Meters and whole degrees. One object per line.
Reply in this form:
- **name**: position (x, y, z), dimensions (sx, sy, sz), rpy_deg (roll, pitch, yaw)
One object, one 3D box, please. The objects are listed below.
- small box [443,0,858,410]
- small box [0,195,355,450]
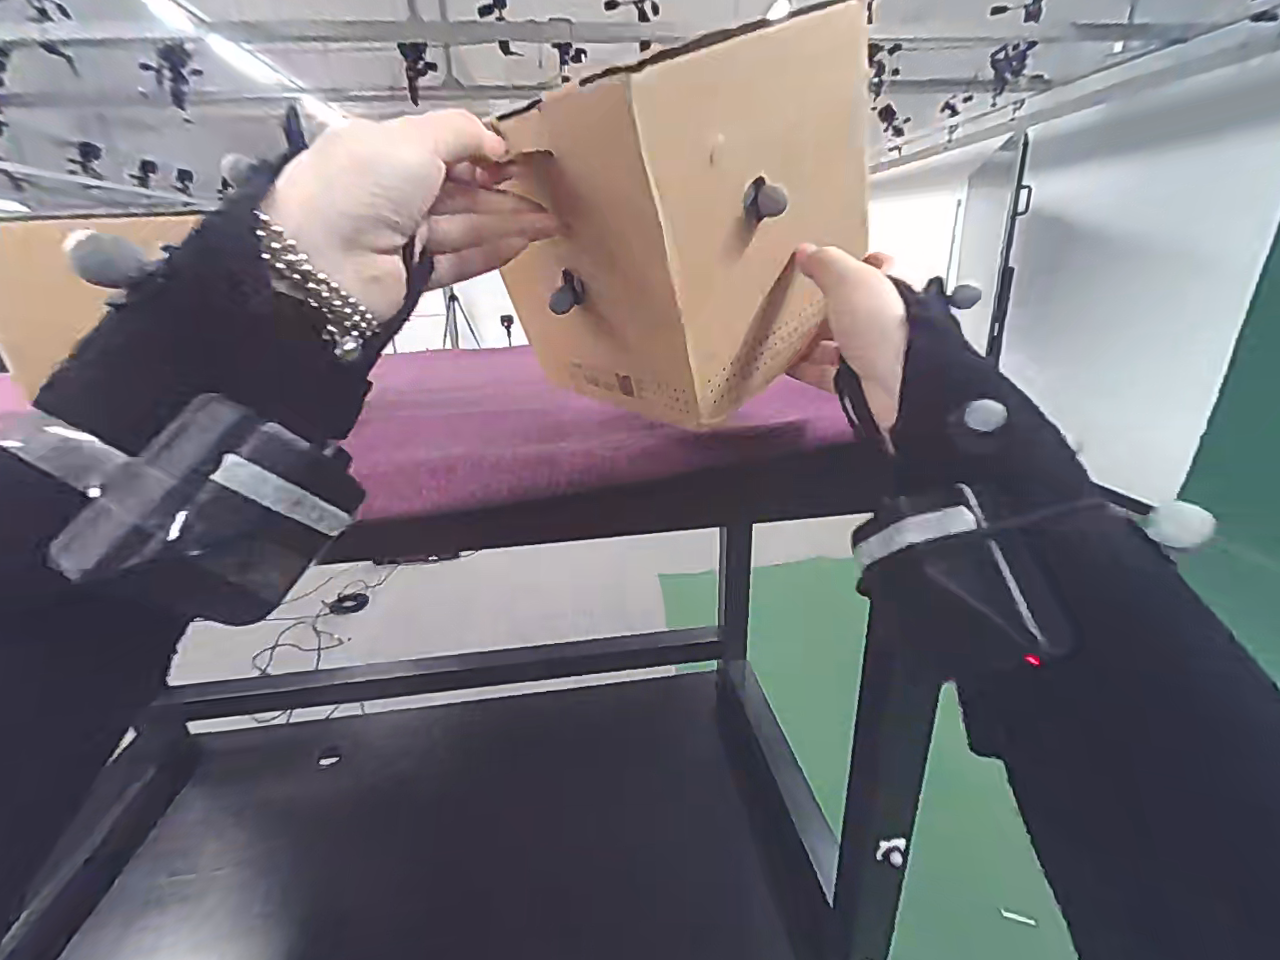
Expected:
- **small box**: position (0.021, -0.165, 0.335), dimensions (0.179, 0.176, 0.168), rpy_deg (-39, 41, -25)
- **small box**: position (-0.371, -0.127, 0.450), dimensions (0.179, 0.176, 0.168), rpy_deg (-5, 20, -6)
